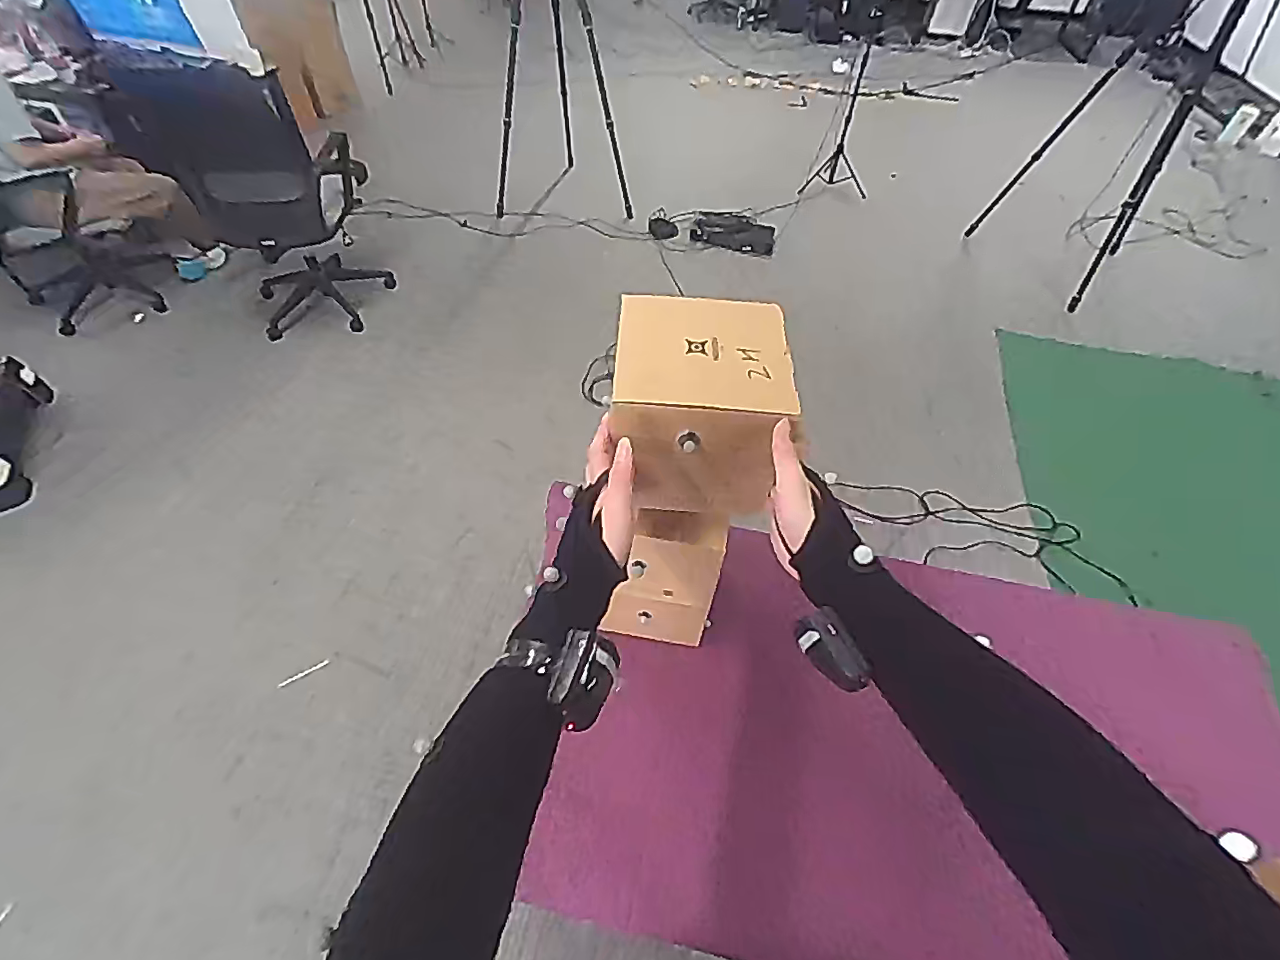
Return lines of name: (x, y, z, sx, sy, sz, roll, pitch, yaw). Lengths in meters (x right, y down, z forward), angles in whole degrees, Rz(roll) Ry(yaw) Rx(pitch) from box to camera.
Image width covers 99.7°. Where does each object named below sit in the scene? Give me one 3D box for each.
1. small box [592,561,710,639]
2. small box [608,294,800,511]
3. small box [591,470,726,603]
small box: (0.026, 0.150, 0.901, 0.179, 0.176, 0.168, 8, 52, 5)
small box: (0.057, -0.080, 0.594, 0.179, 0.176, 0.168, 4, 53, -3)
small box: (0.034, 0.055, 0.771, 0.168, 0.176, 0.179, 9, 51, 5)
